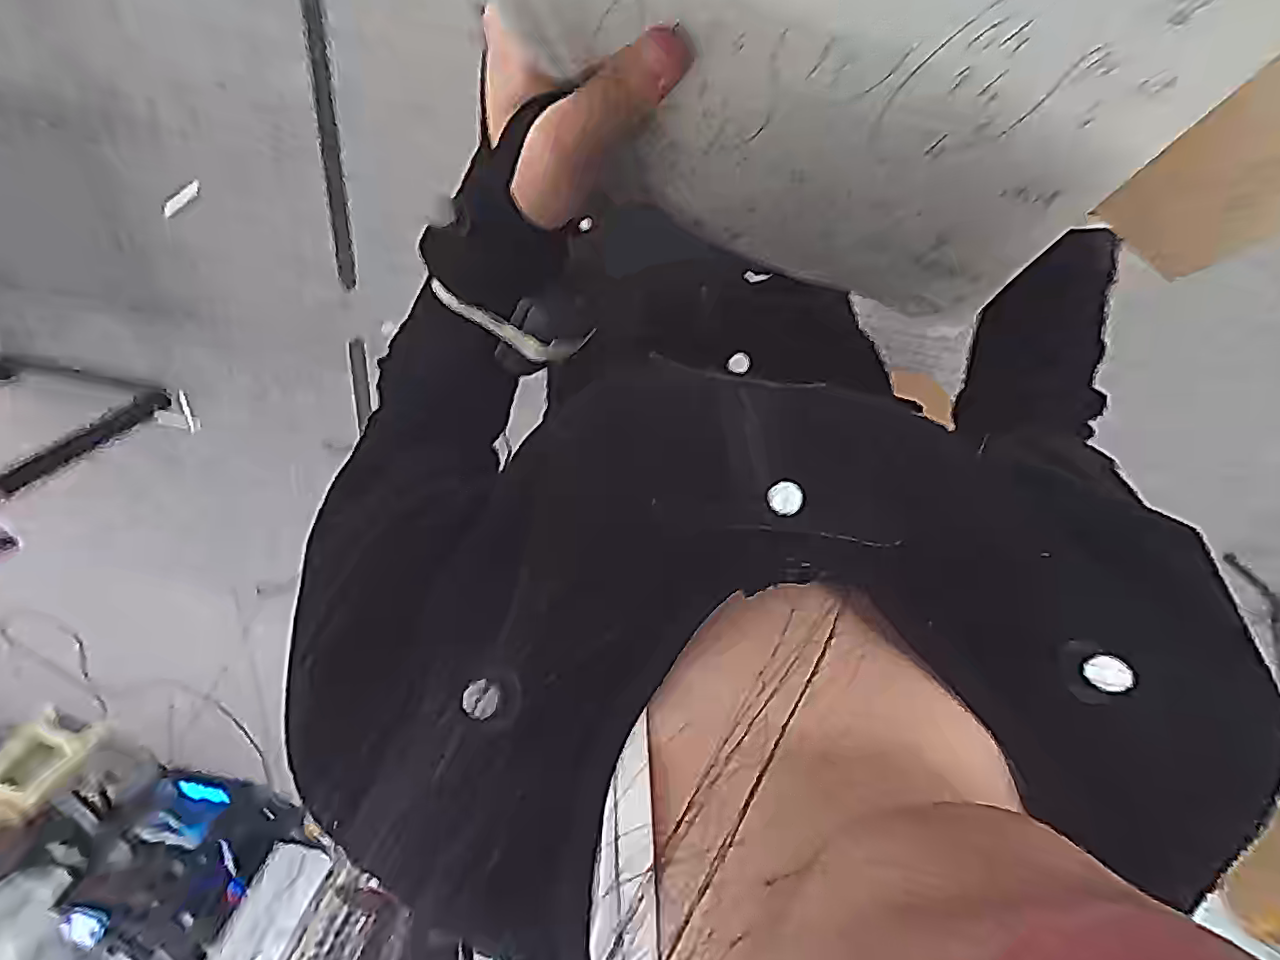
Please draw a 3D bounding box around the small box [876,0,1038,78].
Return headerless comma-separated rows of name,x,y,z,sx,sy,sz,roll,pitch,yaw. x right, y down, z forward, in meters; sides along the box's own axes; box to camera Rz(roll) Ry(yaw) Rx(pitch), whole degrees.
small box,0.536,-0.836,0.928,0.179,0.176,0.168,-29,117,27
